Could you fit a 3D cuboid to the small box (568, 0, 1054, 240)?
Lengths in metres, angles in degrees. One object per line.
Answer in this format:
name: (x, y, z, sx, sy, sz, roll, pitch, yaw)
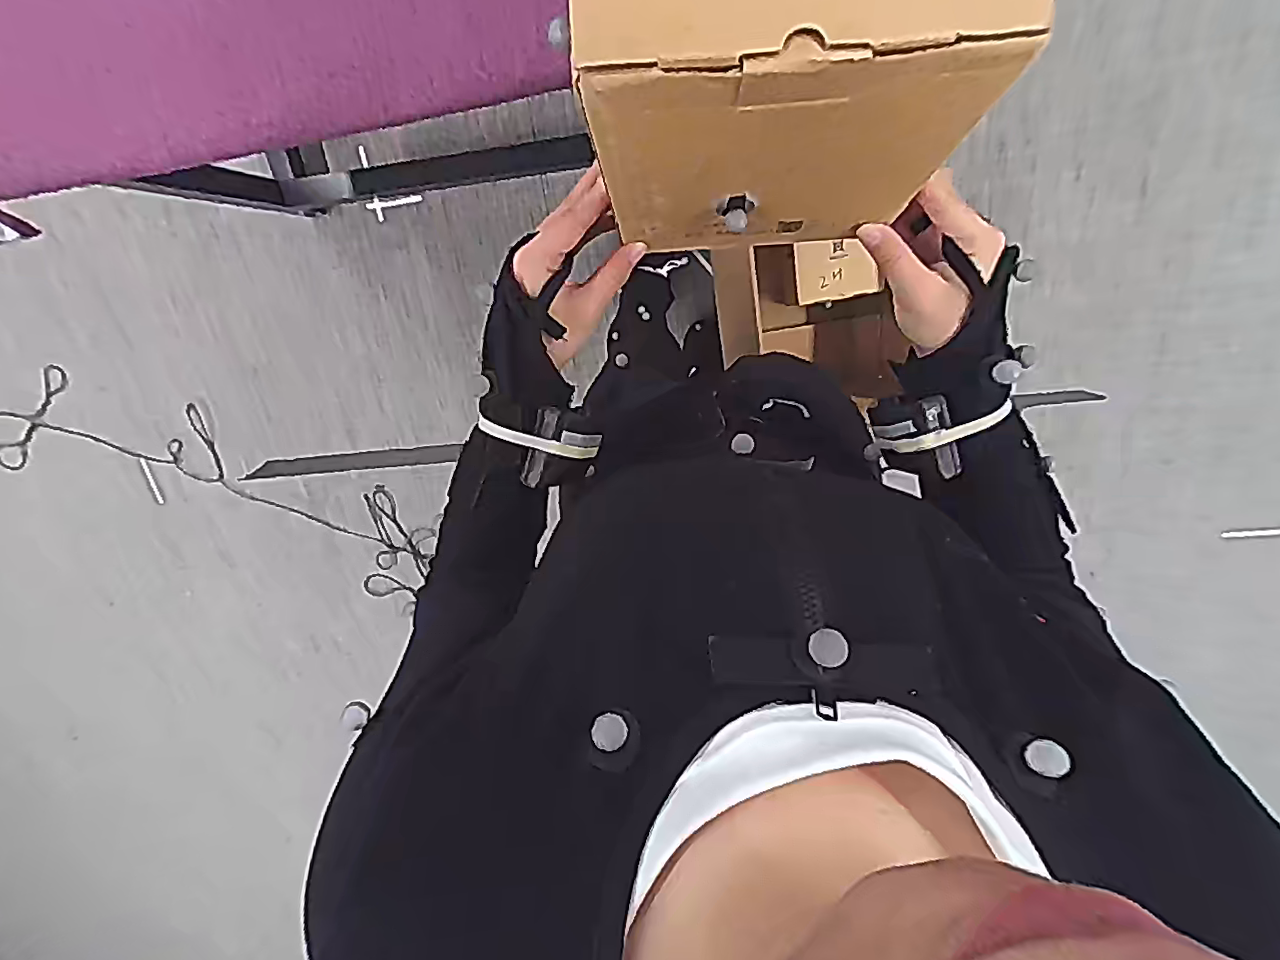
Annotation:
small box: (0.060, -0.241, 0.262, 0.168, 0.176, 0.179, -2, 93, 5)
